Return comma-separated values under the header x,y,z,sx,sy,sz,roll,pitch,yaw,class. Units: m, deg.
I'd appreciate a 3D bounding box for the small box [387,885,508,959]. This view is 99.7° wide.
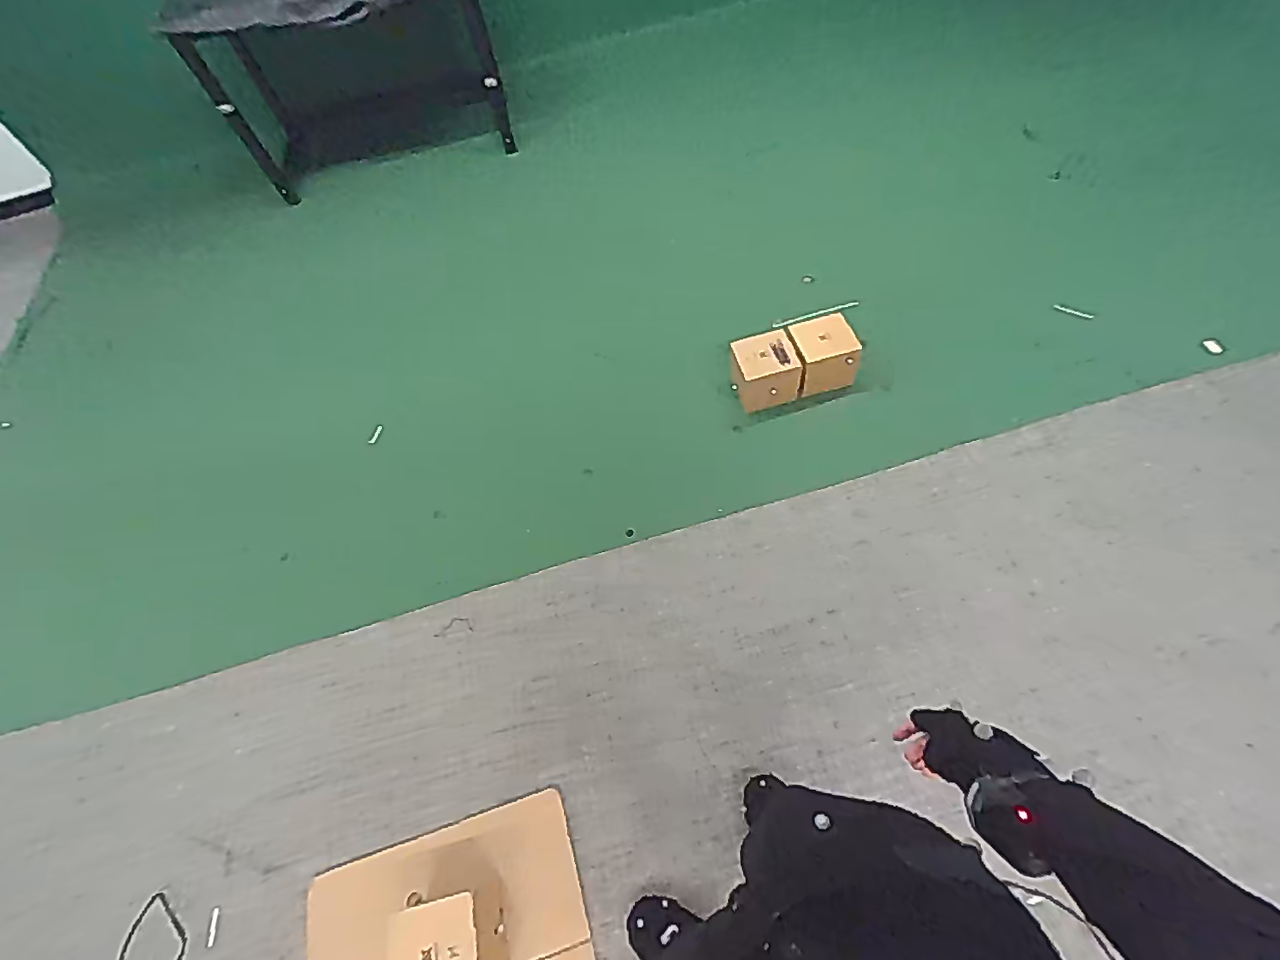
x,y,z,sx,sy,sz,roll,pitch,yaw,class
-0.380,0.939,1.079,0.179,0.176,0.168,-15,60,-1,small box
